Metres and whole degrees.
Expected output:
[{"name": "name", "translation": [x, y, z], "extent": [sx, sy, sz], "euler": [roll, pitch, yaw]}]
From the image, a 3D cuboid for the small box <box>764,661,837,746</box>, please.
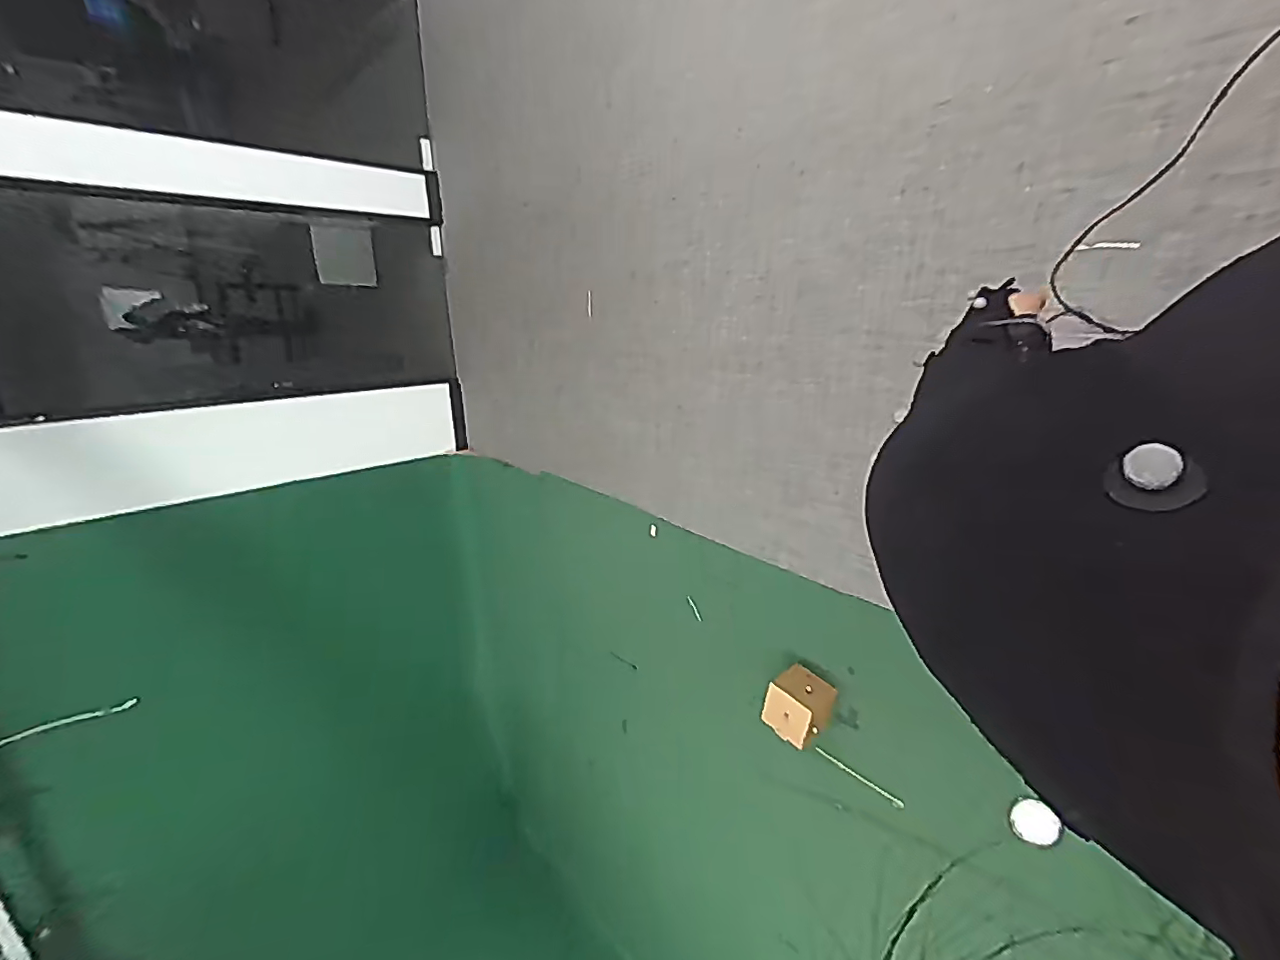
[{"name": "small box", "translation": [0.556, 0.760, 1.861], "extent": [0.168, 0.176, 0.179], "euler": [28, 123, 41]}]
